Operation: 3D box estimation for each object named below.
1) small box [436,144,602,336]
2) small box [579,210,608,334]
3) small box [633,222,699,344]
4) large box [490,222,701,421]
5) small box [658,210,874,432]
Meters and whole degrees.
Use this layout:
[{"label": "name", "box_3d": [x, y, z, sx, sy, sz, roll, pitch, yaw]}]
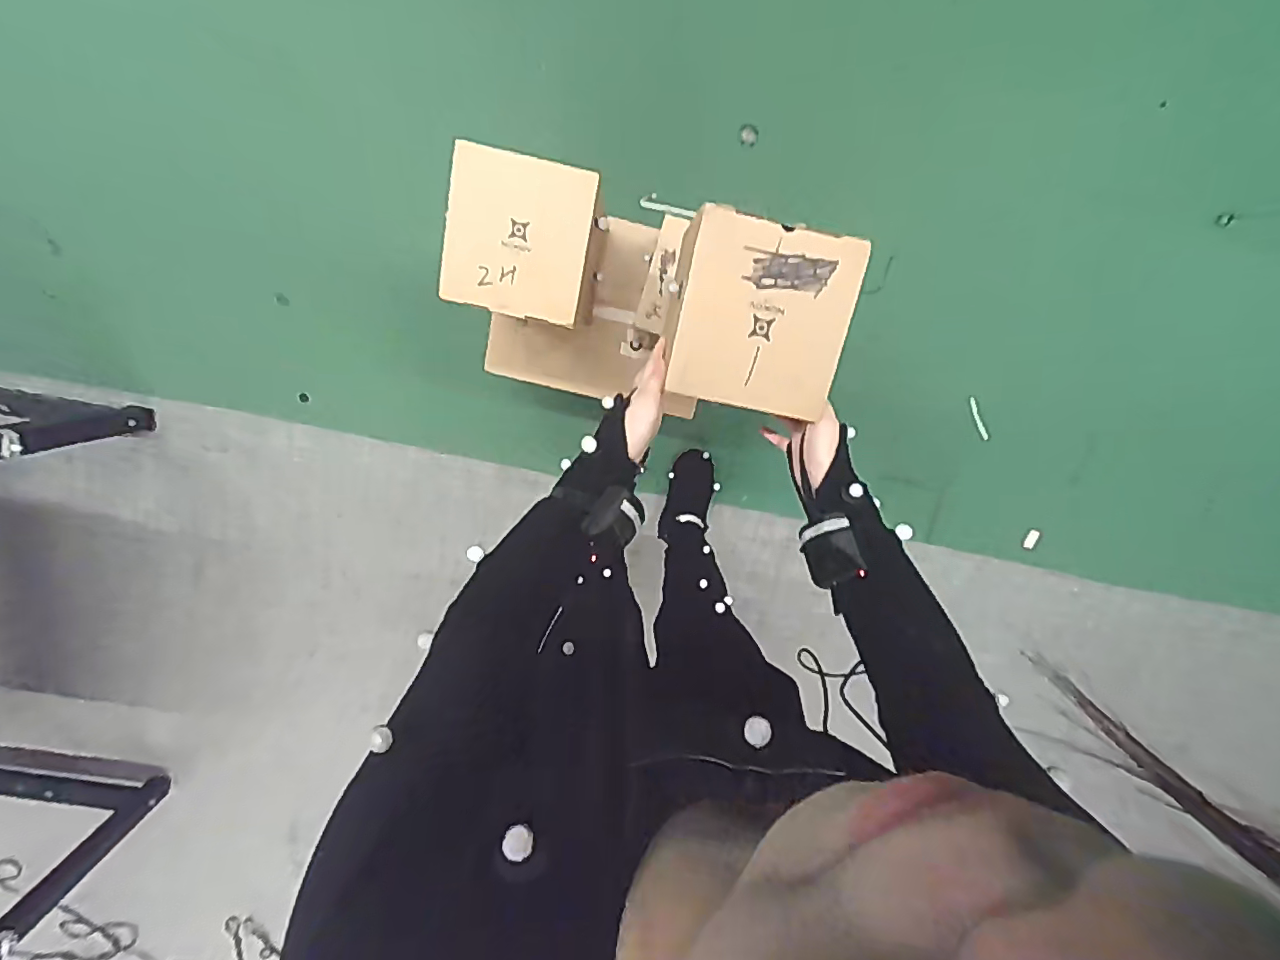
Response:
[{"label": "small box", "box_3d": [-0.145, -0.294, 0.702, 0.168, 0.176, 0.179, 12, 104, -4]}, {"label": "small box", "box_3d": [-0.148, -0.339, 0.861, 0.168, 0.176, 0.179, 13, 104, -4]}, {"label": "small box", "box_3d": [0.096, -0.290, 0.873, 0.179, 0.176, 0.168, 17, 103, -4]}, {"label": "large box", "box_3d": [-0.059, -0.329, 1.115, 0.408, 0.320, 0.320, 12, 105, -4]}, {"label": "small box", "box_3d": [0.117, -0.165, 0.586, 0.168, 0.176, 0.179, 11, 105, -4]}]
